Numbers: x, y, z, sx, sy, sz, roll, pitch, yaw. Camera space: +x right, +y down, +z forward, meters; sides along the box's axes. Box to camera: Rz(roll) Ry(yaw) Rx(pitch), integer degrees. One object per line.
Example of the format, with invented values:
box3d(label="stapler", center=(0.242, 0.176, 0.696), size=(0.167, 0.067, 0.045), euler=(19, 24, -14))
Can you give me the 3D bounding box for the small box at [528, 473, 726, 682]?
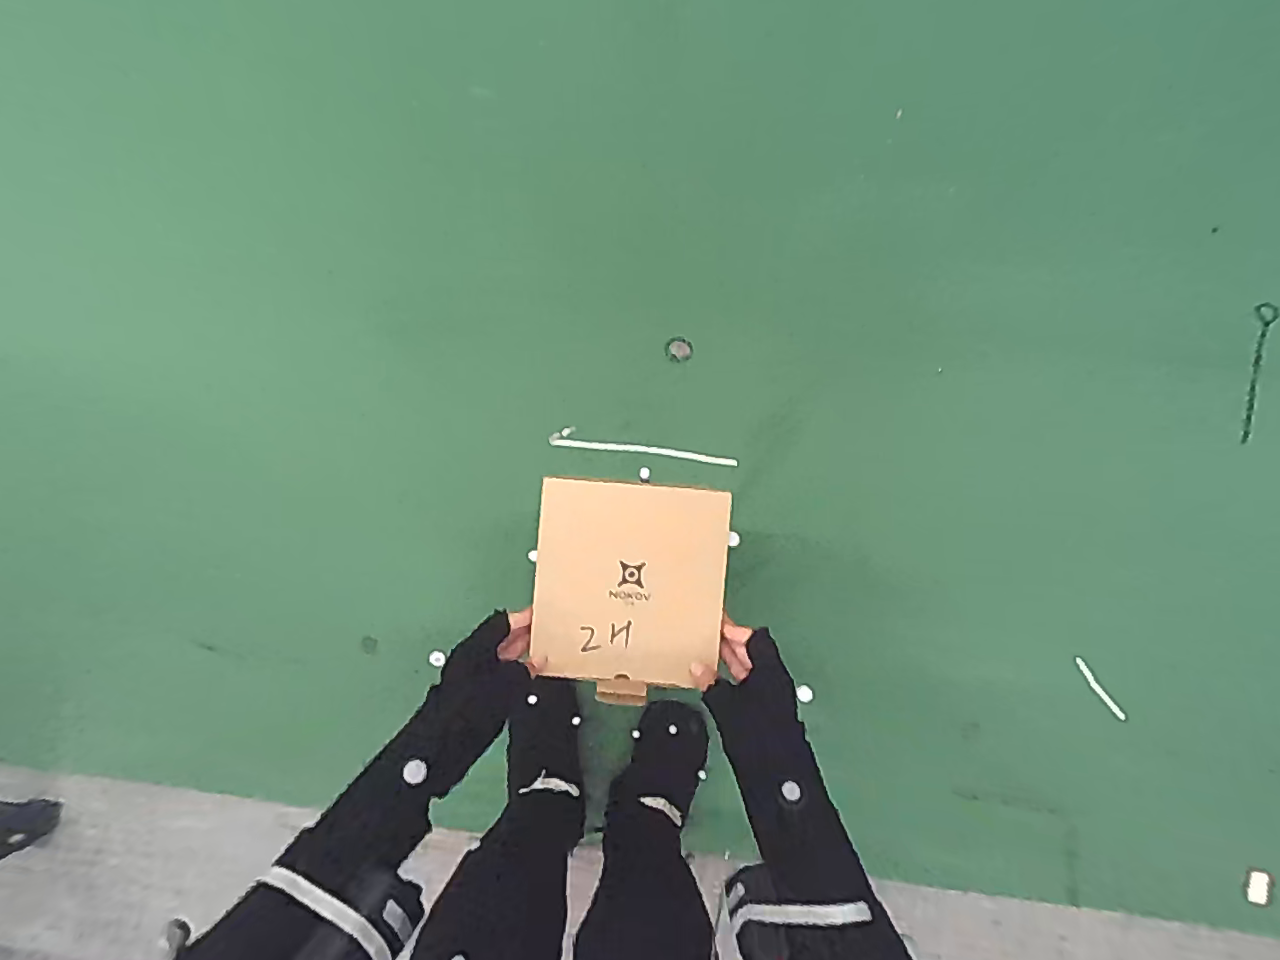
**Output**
box3d(label="small box", center=(-0.011, 0.087, 0.559), size=(0.168, 0.176, 0.179), euler=(5, 90, 1))
